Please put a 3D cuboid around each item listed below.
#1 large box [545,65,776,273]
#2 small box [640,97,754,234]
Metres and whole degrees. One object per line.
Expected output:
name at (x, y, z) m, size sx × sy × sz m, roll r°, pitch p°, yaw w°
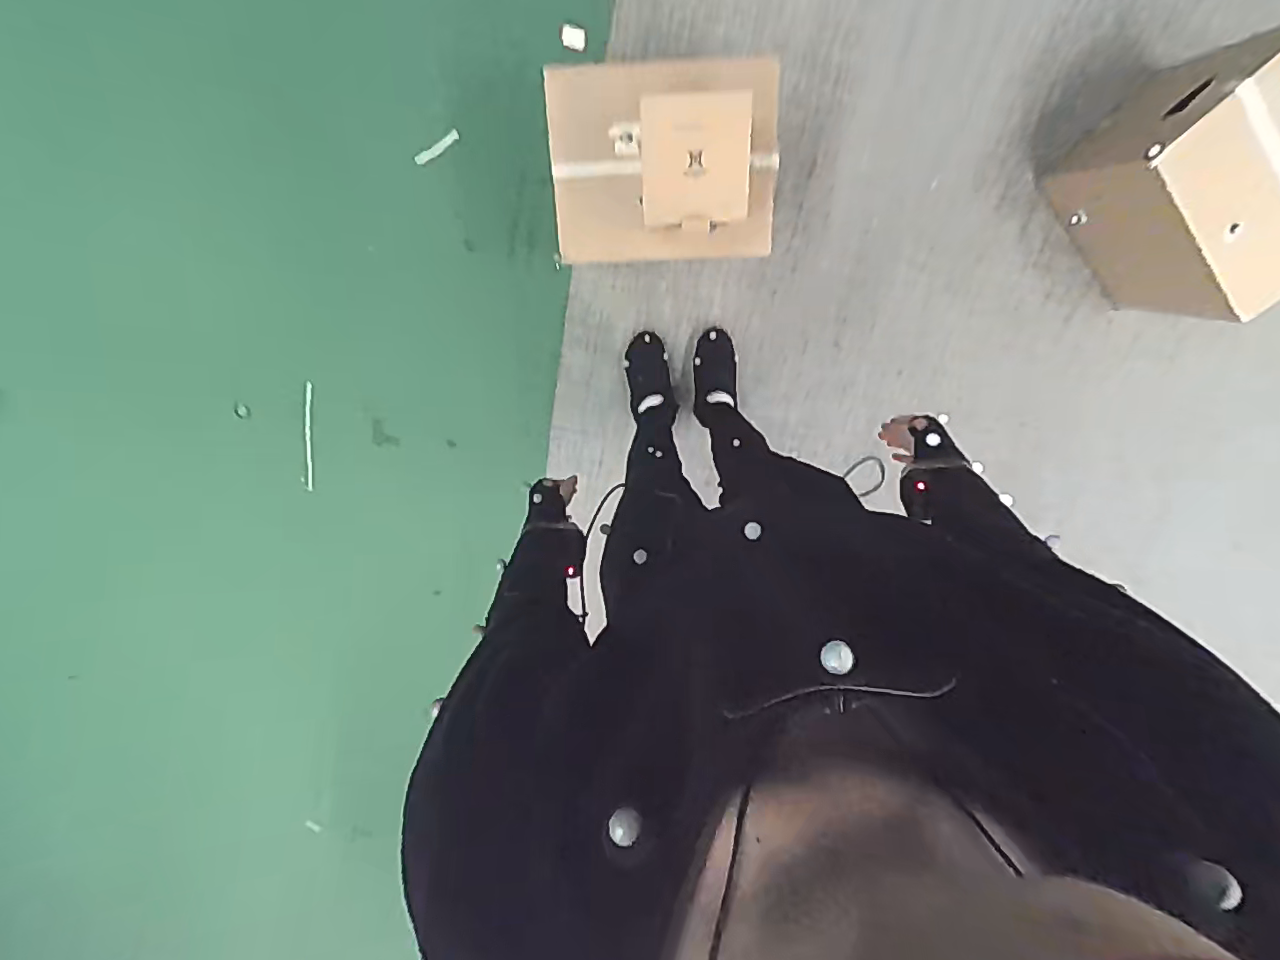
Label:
large box at (0.048, -0.603, 1.111) m, size 0.408 × 0.320 × 0.320 m, roll -2°, pitch 110°, yaw 3°
small box at (0.086, -0.501, 0.886) m, size 0.168 × 0.176 × 0.179 m, roll -1°, pitch 112°, yaw 1°
